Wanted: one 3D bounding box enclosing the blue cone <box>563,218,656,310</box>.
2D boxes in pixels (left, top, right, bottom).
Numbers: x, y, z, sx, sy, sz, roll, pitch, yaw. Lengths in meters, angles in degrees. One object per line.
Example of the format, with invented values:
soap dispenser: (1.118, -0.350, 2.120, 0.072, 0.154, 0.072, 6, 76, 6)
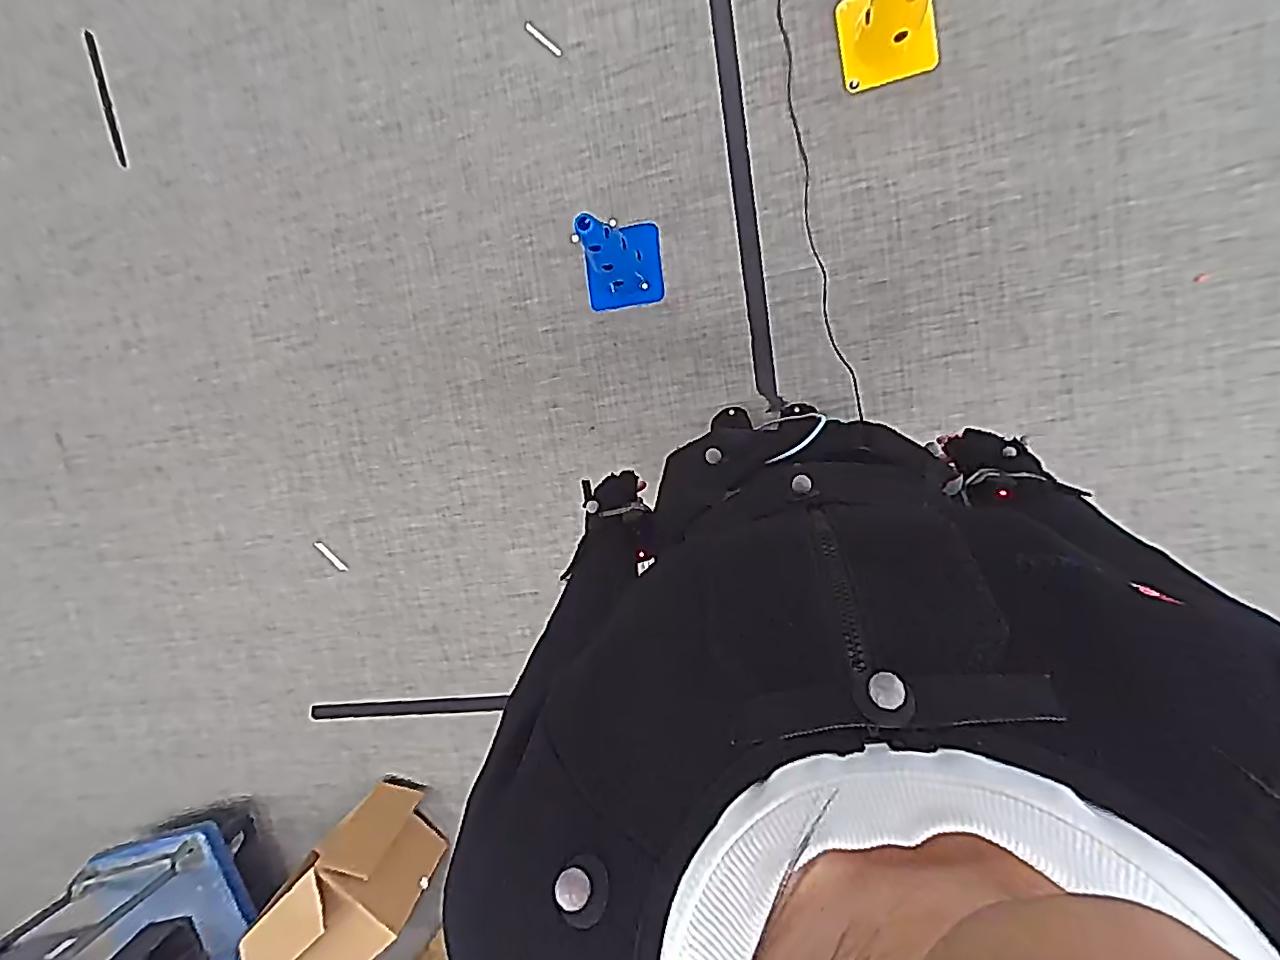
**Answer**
blue cone: (-0.089, -0.530, 1.253, 0.192, 0.380, 0.193, -3, 97, 13)
